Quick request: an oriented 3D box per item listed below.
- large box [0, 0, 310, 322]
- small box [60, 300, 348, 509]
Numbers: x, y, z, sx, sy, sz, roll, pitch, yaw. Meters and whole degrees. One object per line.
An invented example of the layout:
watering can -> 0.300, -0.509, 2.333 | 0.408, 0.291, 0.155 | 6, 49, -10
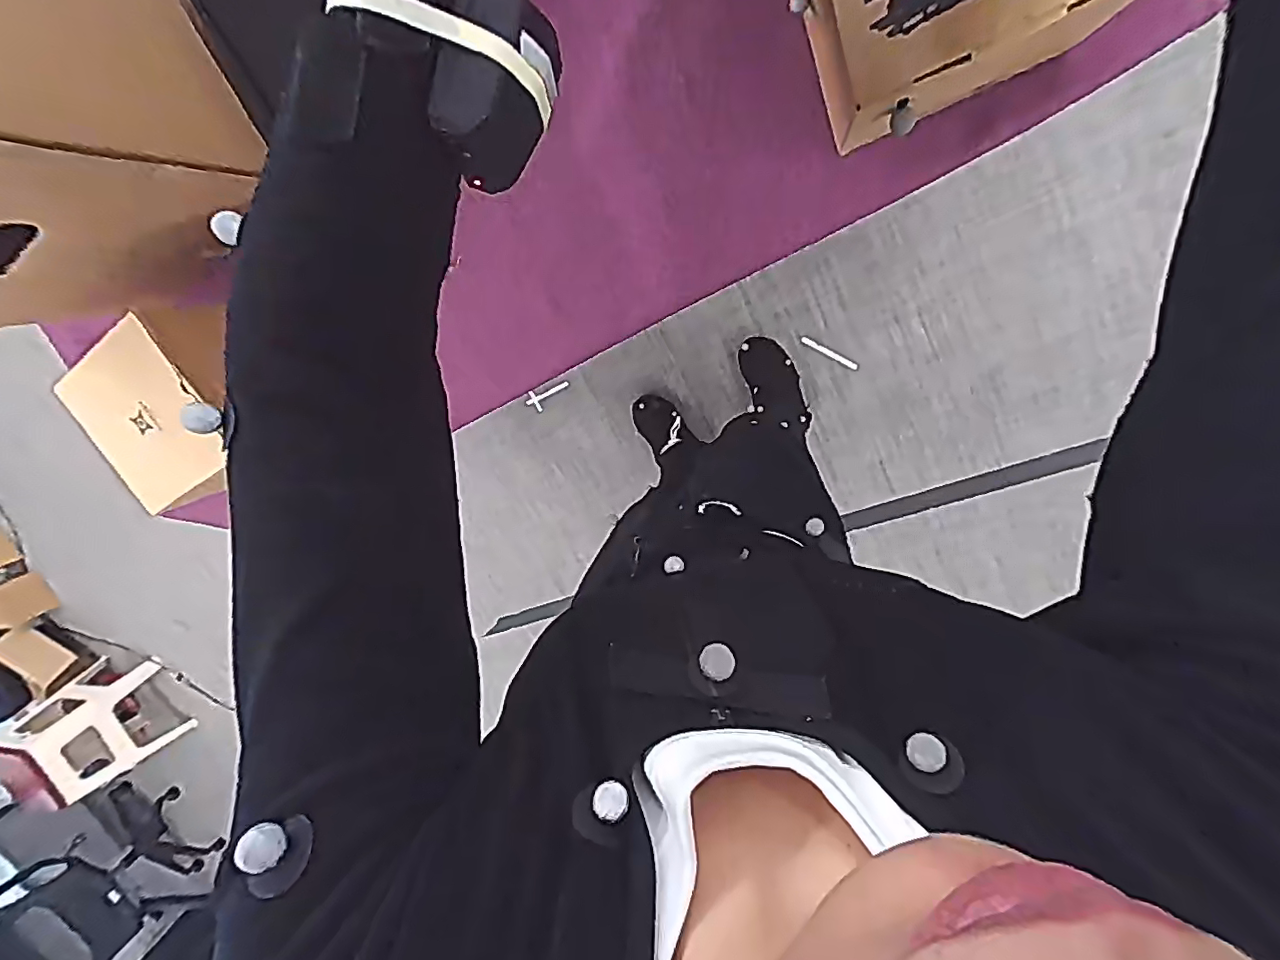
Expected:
large box -> -0.611, -0.391, 0.466 | 0.320, 0.320, 0.408 | -23, 107, 23
small box -> -0.493, -0.094, 0.636 | 0.179, 0.176, 0.168 | -24, 103, 22
